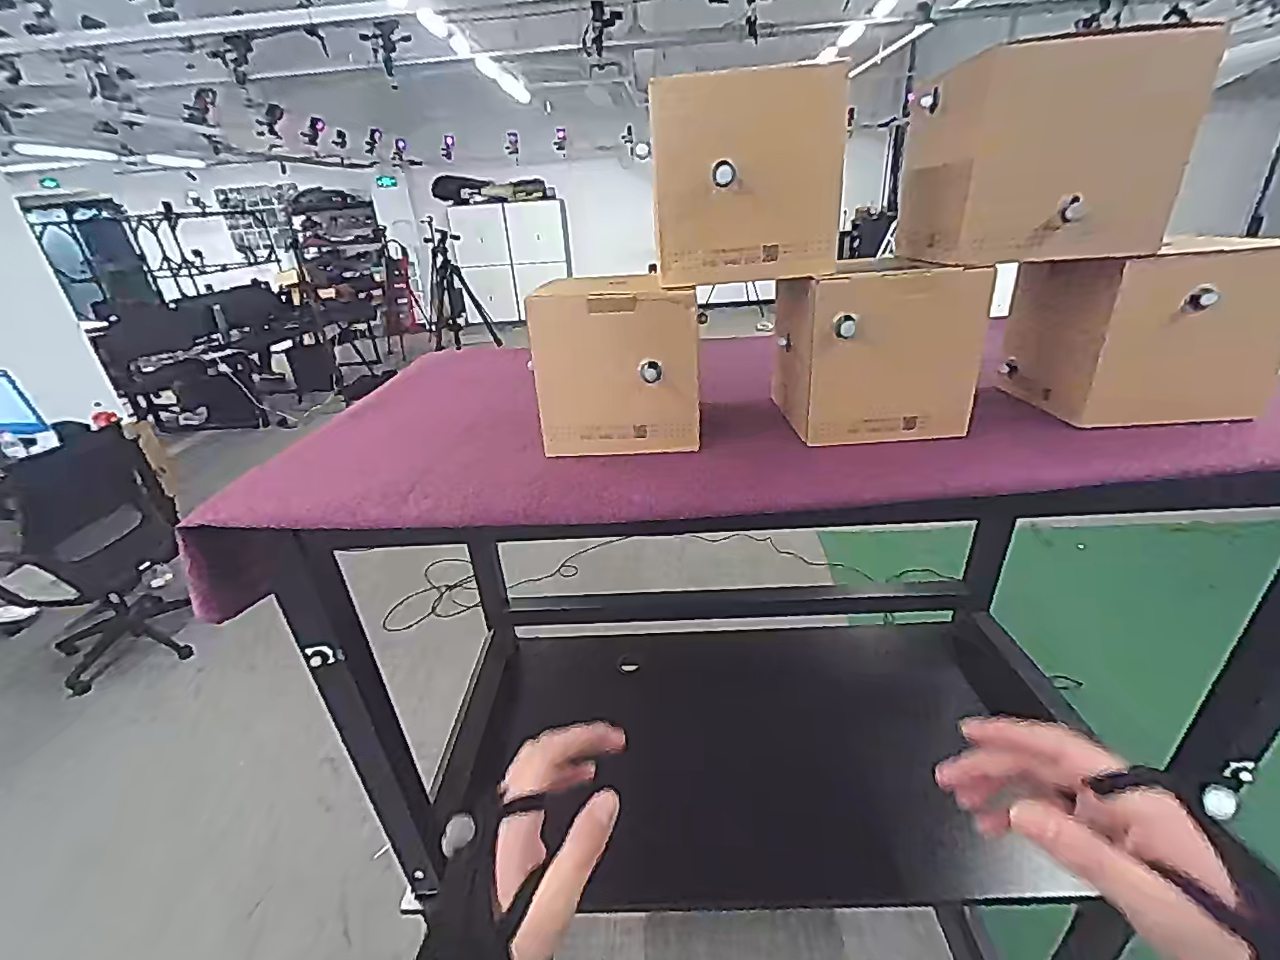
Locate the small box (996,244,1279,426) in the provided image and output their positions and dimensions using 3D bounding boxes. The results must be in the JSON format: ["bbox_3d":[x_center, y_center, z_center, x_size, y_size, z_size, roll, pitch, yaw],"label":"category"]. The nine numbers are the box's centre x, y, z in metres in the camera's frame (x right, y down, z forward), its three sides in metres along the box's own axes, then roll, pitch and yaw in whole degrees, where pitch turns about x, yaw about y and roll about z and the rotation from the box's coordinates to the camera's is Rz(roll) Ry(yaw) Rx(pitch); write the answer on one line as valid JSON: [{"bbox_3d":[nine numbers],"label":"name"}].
[{"bbox_3d":[0.532,-0.164,0.602,0.179,0.176,0.168,-3,26,3],"label":"small box"}]

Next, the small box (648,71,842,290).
[{"bbox_3d":[0.098,-0.292,0.559,0.168,0.176,0.179,-4,25,3],"label":"small box"}]

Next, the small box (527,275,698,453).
[{"bbox_3d":[-0.019,-0.136,0.623,0.168,0.176,0.179,-1,26,3],"label":"small box"}]

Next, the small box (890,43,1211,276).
[{"bbox_3d":[0.374,-0.303,0.537,0.179,0.176,0.168,-1,26,4],"label":"small box"}]
